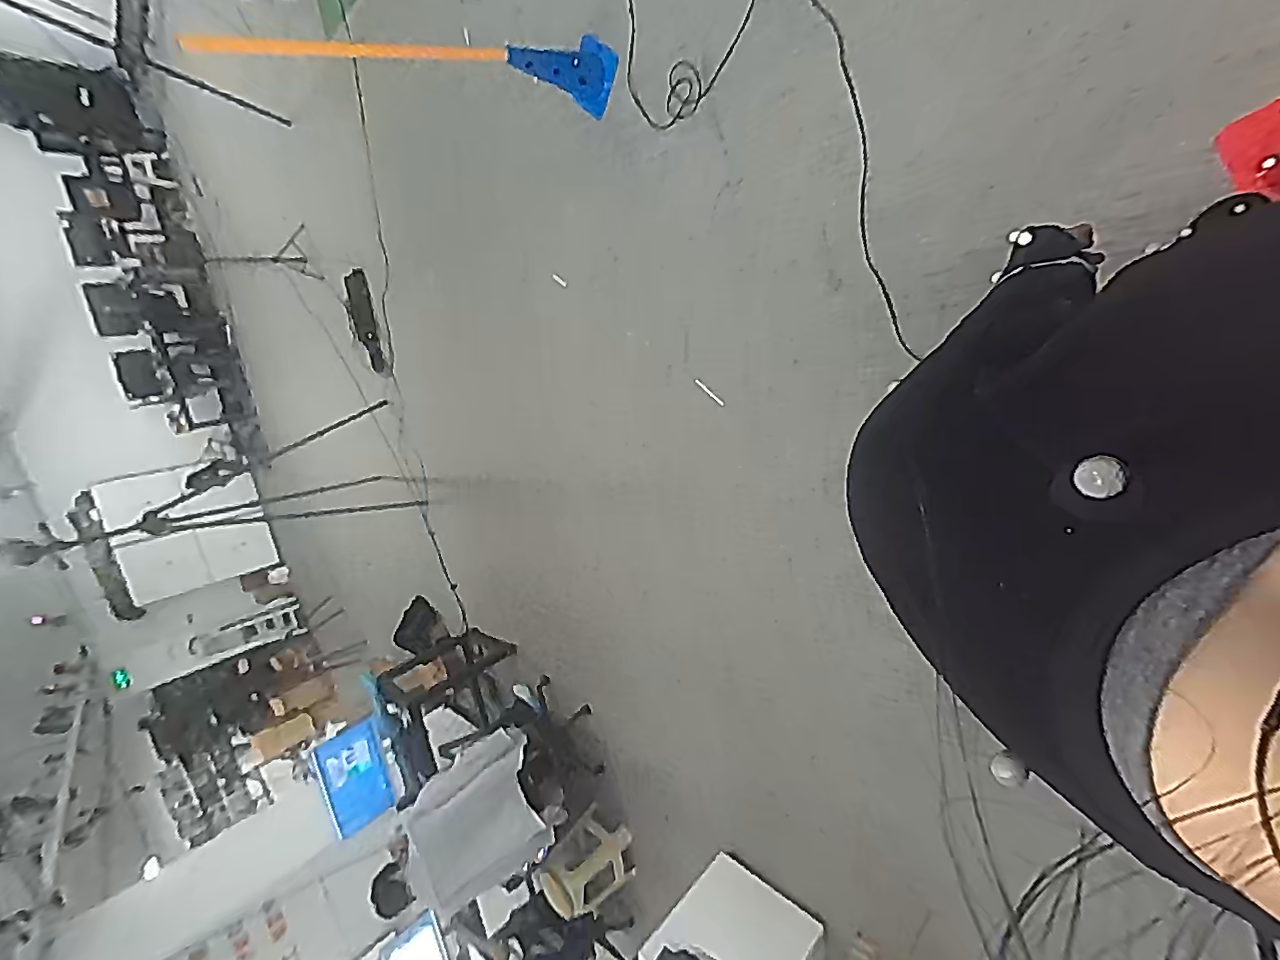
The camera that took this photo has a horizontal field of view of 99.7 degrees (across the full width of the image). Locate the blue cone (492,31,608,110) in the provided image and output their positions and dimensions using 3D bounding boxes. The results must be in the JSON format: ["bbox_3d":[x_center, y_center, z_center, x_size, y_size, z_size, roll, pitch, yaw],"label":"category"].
[{"bbox_3d":[-0.300,-1.348,1.742,0.192,0.380,0.193,47,136,20],"label":"blue cone"}]
